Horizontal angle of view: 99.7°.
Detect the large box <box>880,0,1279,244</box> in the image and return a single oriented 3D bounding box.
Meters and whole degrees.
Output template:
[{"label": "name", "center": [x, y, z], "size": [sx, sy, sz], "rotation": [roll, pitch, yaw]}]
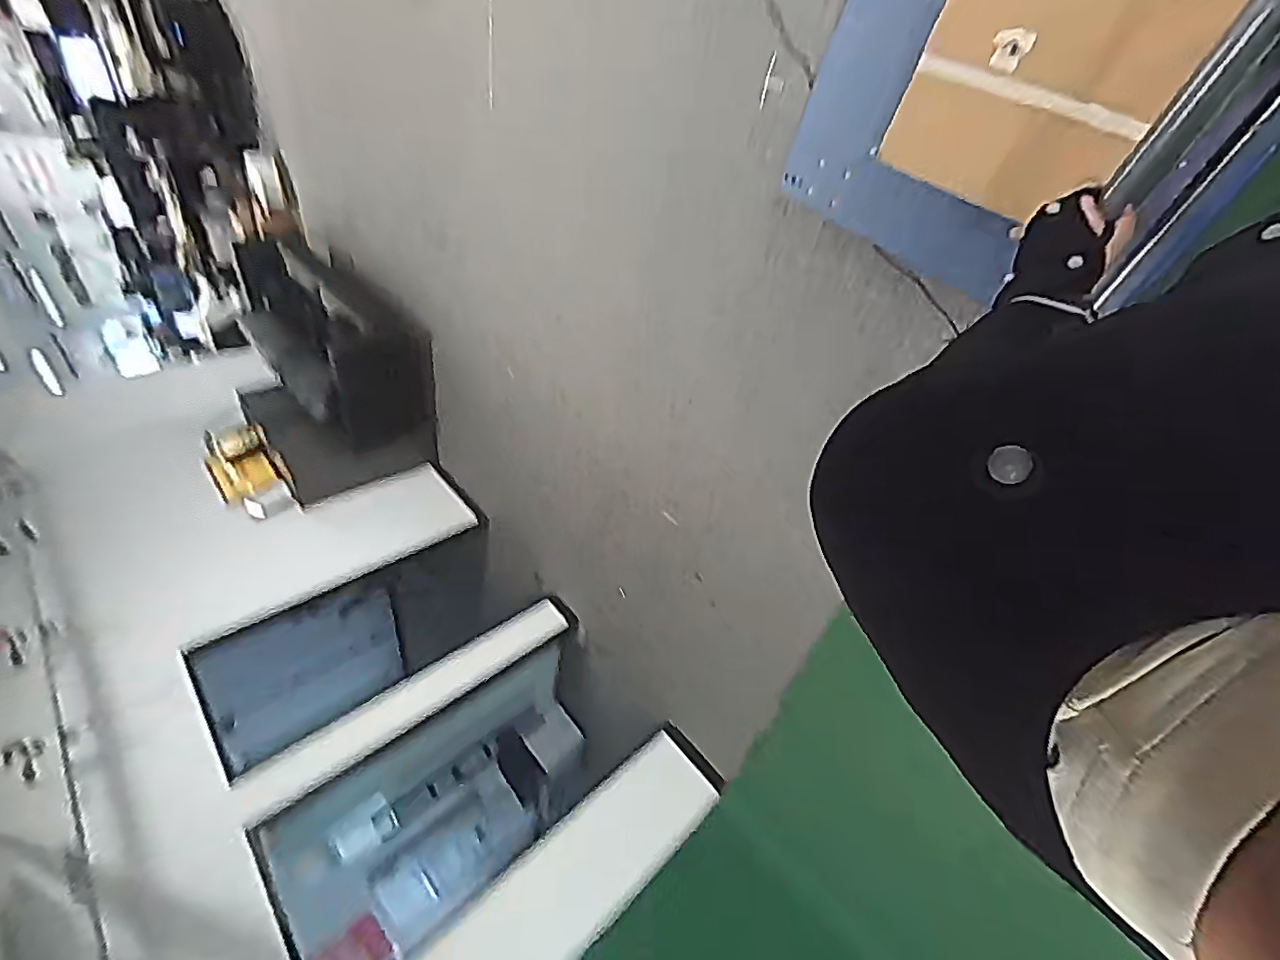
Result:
[{"label": "large box", "center": [0.729, -0.653, 0.935], "size": [0.408, 0.320, 0.320], "rotation": [44, 138, 25]}]
